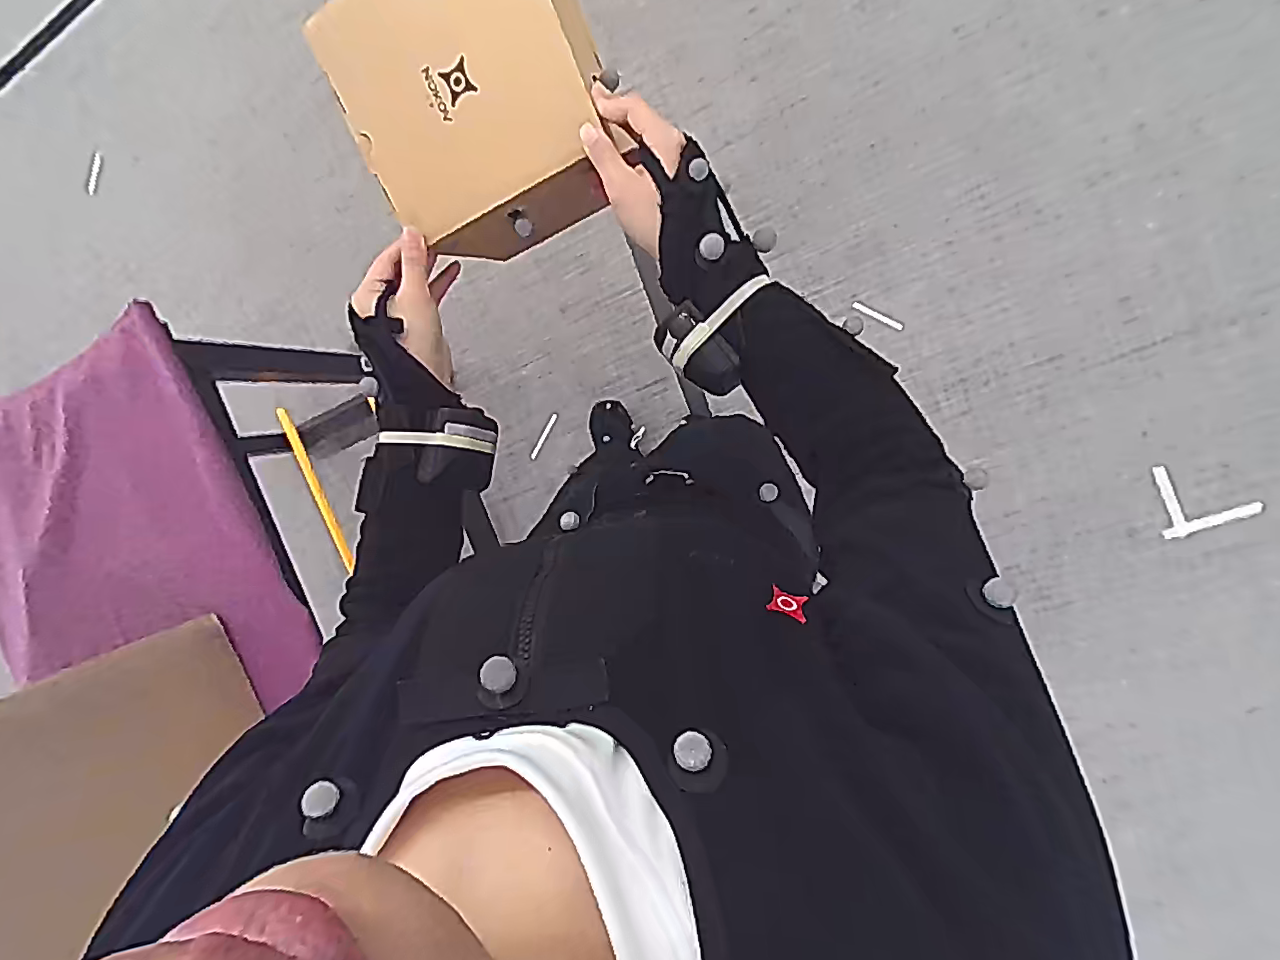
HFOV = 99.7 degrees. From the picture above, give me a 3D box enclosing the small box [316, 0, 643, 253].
[{"bbox_3d":[-0.107,-0.306,0.450,0.179,0.176,0.168,-18,105,18],"label":"small box"}]
